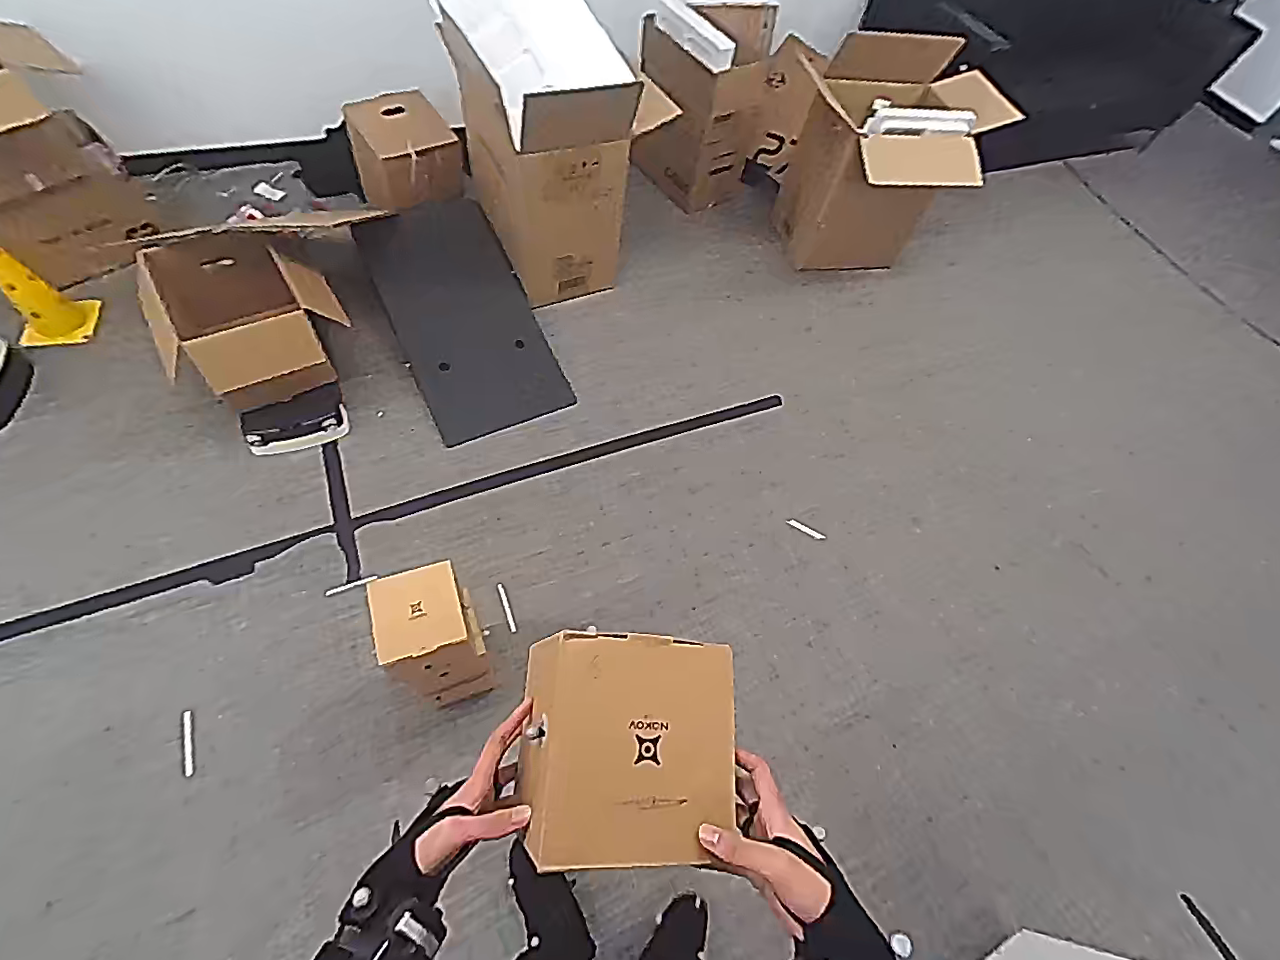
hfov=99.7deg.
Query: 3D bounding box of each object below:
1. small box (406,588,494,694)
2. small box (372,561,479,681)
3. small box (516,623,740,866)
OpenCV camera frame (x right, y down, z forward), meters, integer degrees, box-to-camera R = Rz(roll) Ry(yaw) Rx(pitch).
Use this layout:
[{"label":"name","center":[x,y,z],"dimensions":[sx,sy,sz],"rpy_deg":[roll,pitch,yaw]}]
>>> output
[{"label":"small box","center":[-0.453,0.382,1.267],"dimensions":[0.179,0.176,0.168],"rpy_deg":[-16,63,-19]},{"label":"small box","center":[-0.443,0.297,1.128],"dimensions":[0.168,0.176,0.179],"rpy_deg":[-15,64,-17]},{"label":"small box","center":[-0.018,0.244,0.518],"dimensions":[0.168,0.176,0.179],"rpy_deg":[11,66,-17]}]
